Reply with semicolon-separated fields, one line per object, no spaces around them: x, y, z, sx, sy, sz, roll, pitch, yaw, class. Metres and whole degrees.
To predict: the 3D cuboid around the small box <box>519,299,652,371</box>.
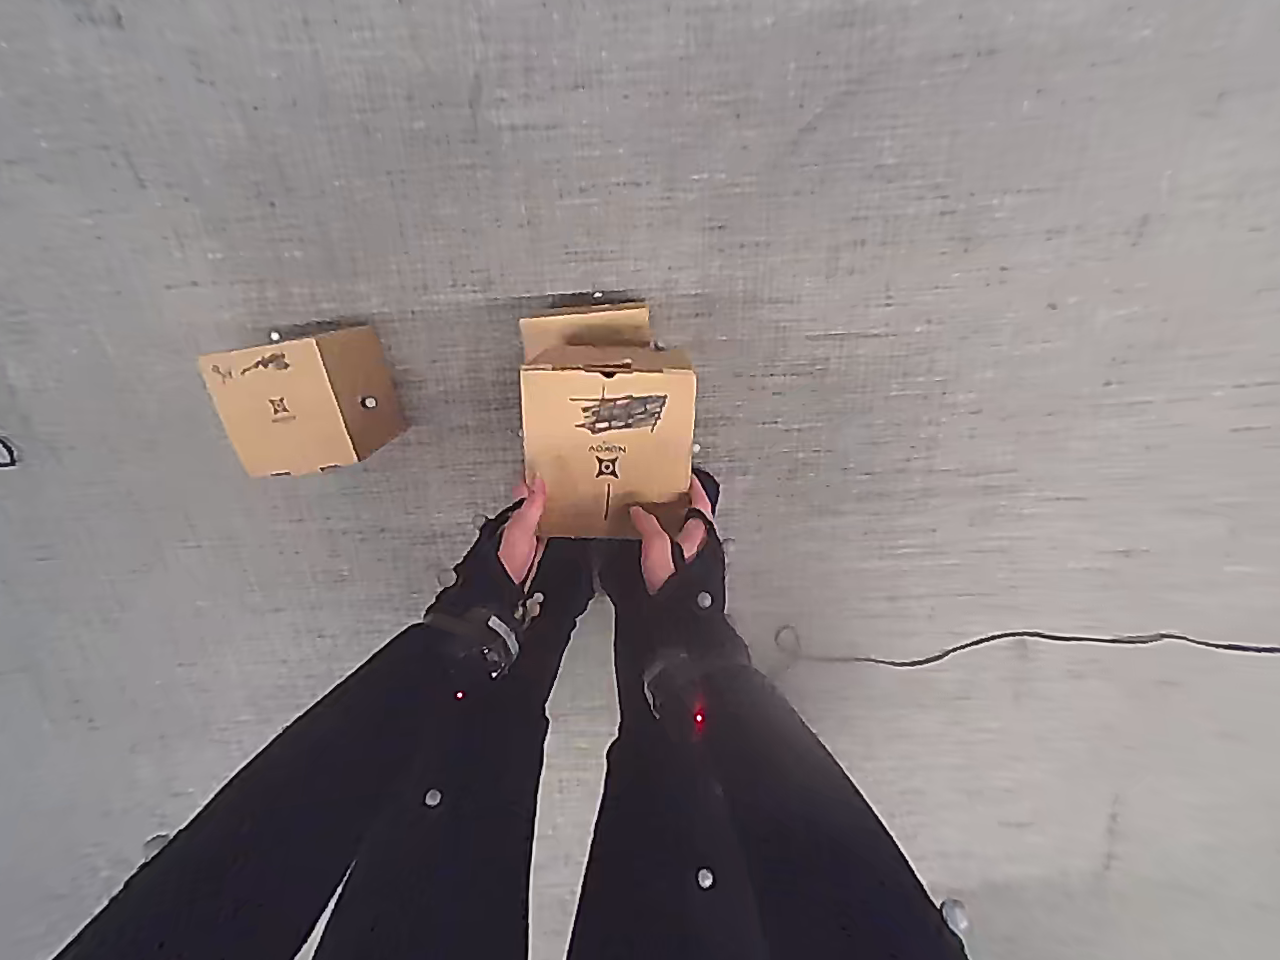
-0.065;-0.161;0.784;0.168;0.176;0.179;-5;111;2;small box

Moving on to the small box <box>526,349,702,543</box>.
-0.026;-0.047;0.598;0.168;0.176;0.179;2;111;1;small box
